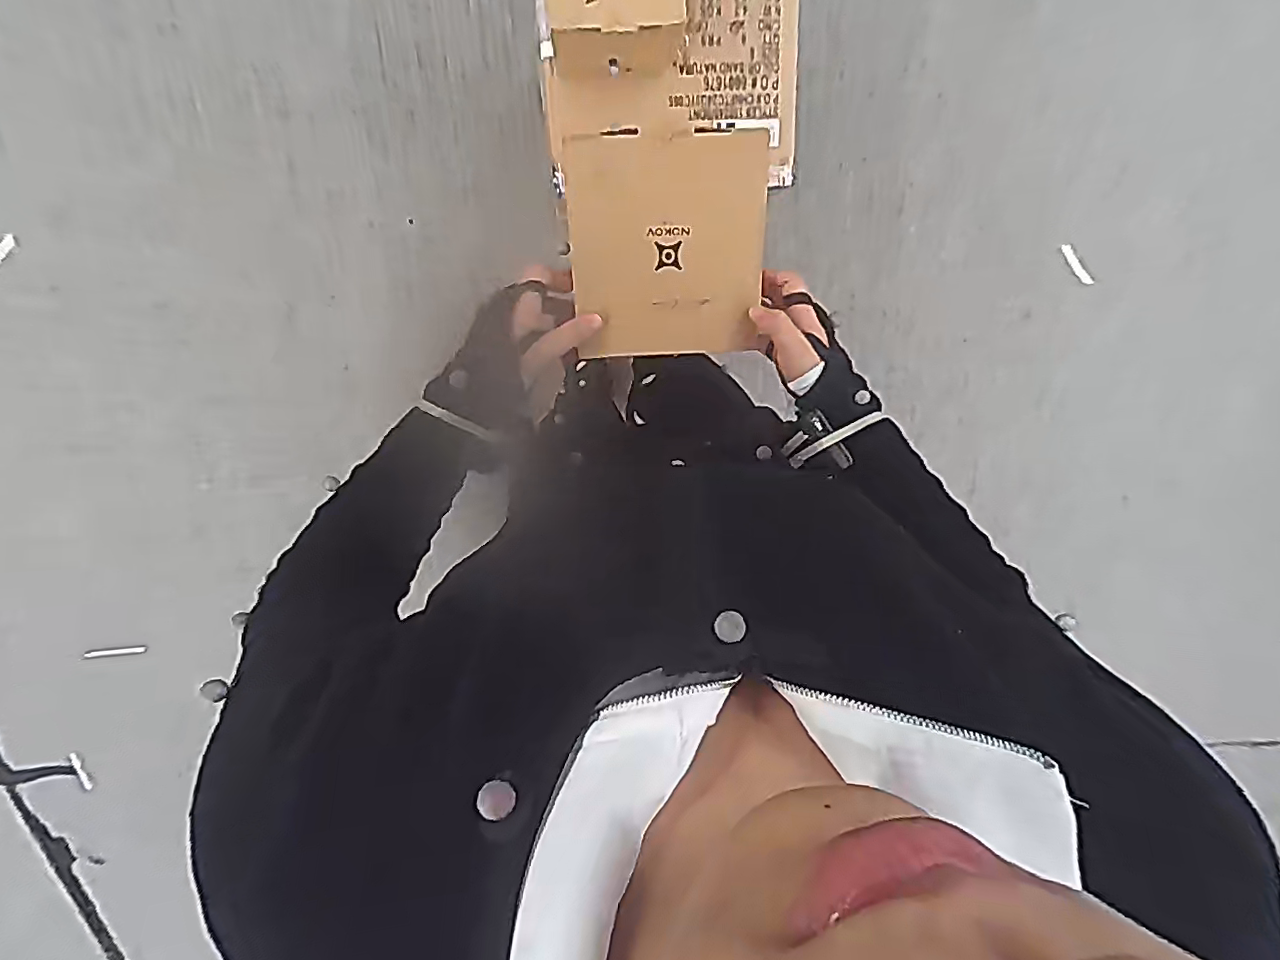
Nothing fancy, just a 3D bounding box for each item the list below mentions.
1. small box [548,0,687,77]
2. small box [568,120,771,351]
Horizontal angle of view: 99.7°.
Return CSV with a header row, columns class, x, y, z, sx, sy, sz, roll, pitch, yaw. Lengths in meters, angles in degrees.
class,x,y,z,sx,sy,sz,roll,pitch,yaw
small box,-0.036,-0.647,0.688,0.168,0.176,0.179,-5,112,-3
small box,0.020,-0.231,0.528,0.168,0.176,0.179,-4,115,-2
